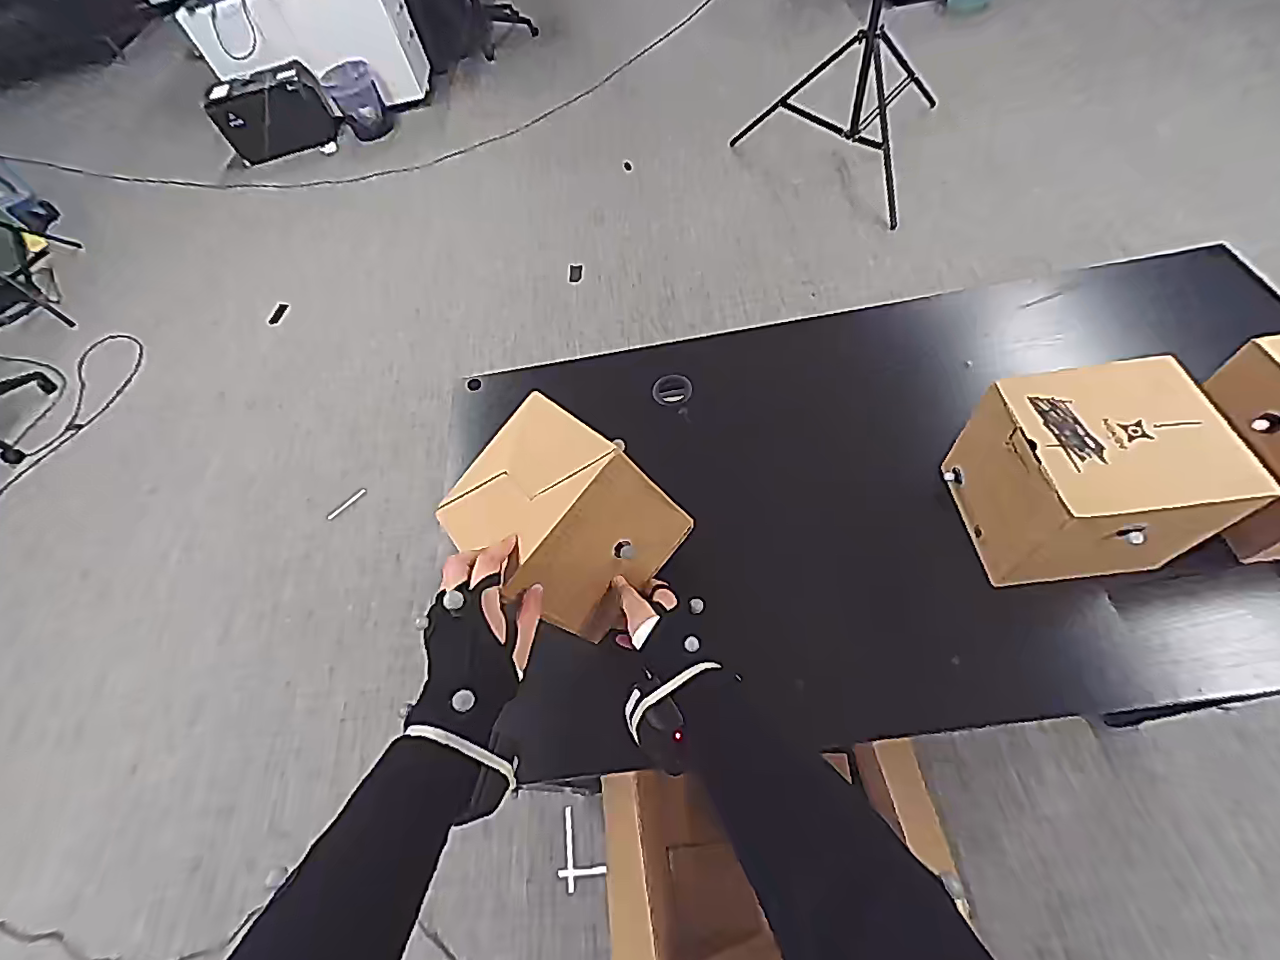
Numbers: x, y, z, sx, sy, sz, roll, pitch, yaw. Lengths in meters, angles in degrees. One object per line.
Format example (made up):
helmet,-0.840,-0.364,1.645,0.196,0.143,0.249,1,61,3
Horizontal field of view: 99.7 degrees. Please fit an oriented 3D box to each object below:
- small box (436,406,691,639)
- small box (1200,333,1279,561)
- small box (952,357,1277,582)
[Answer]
small box,-0.083,0.041,0.592,0.179,0.176,0.168,-52,47,-3
small box,0.703,-0.037,0.550,0.168,0.176,0.179,-8,57,6
small box,0.461,-0.001,0.572,0.179,0.176,0.168,-7,58,4
